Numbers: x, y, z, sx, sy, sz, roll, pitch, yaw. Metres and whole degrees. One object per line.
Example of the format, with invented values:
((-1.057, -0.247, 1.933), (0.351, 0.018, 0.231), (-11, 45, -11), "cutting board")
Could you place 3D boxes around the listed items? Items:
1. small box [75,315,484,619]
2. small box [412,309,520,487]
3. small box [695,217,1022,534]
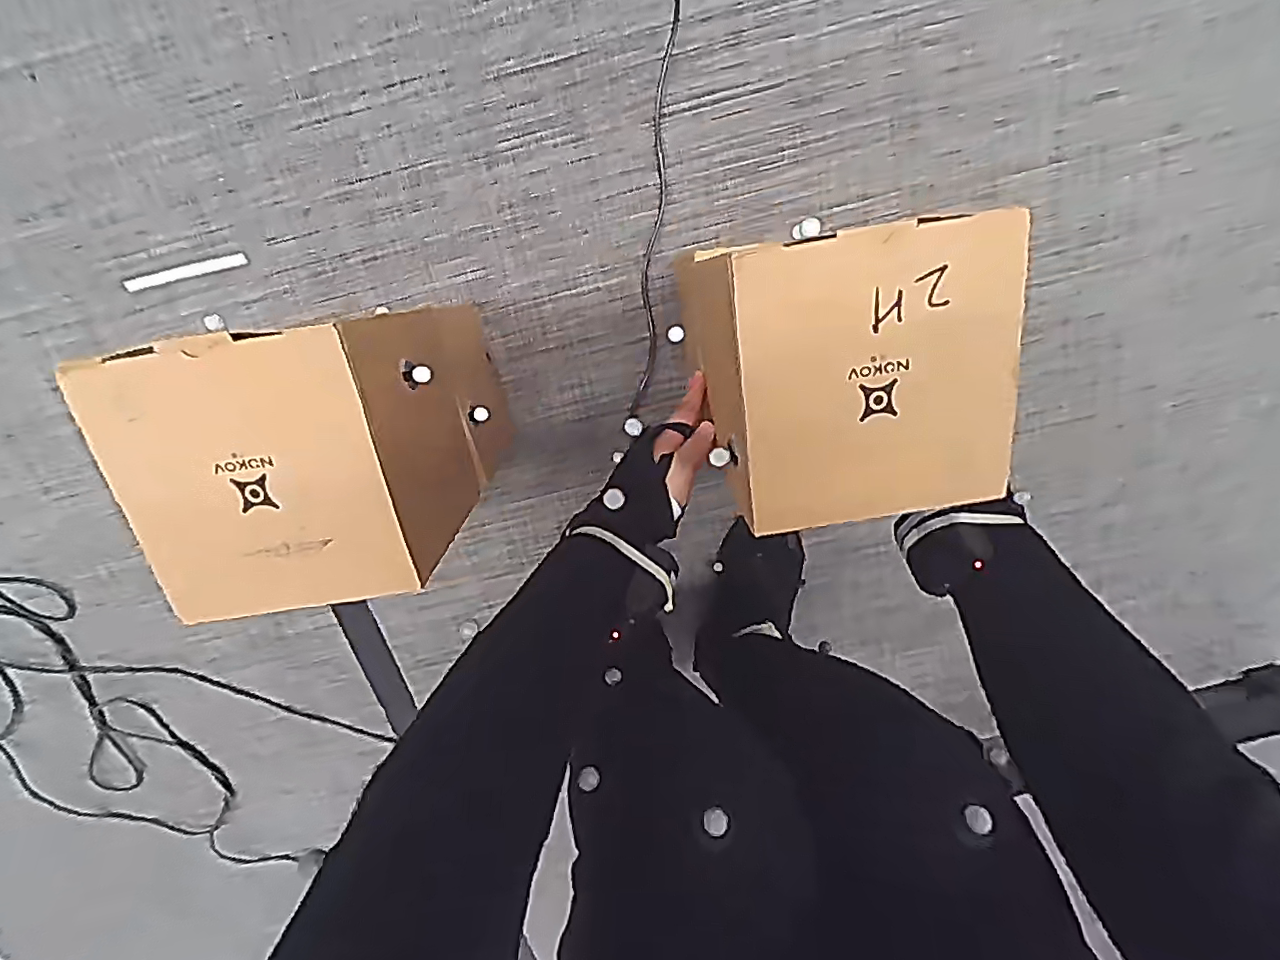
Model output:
((-0.234, -0.025, 0.411), (0.168, 0.176, 0.179), (-9, 111, 2), "small box")
((-0.245, -0.076, 0.567), (0.179, 0.176, 0.168), (-13, 110, 3), "small box")
((0.140, -0.082, 0.404), (0.168, 0.176, 0.179), (-9, 109, 0), "small box")
